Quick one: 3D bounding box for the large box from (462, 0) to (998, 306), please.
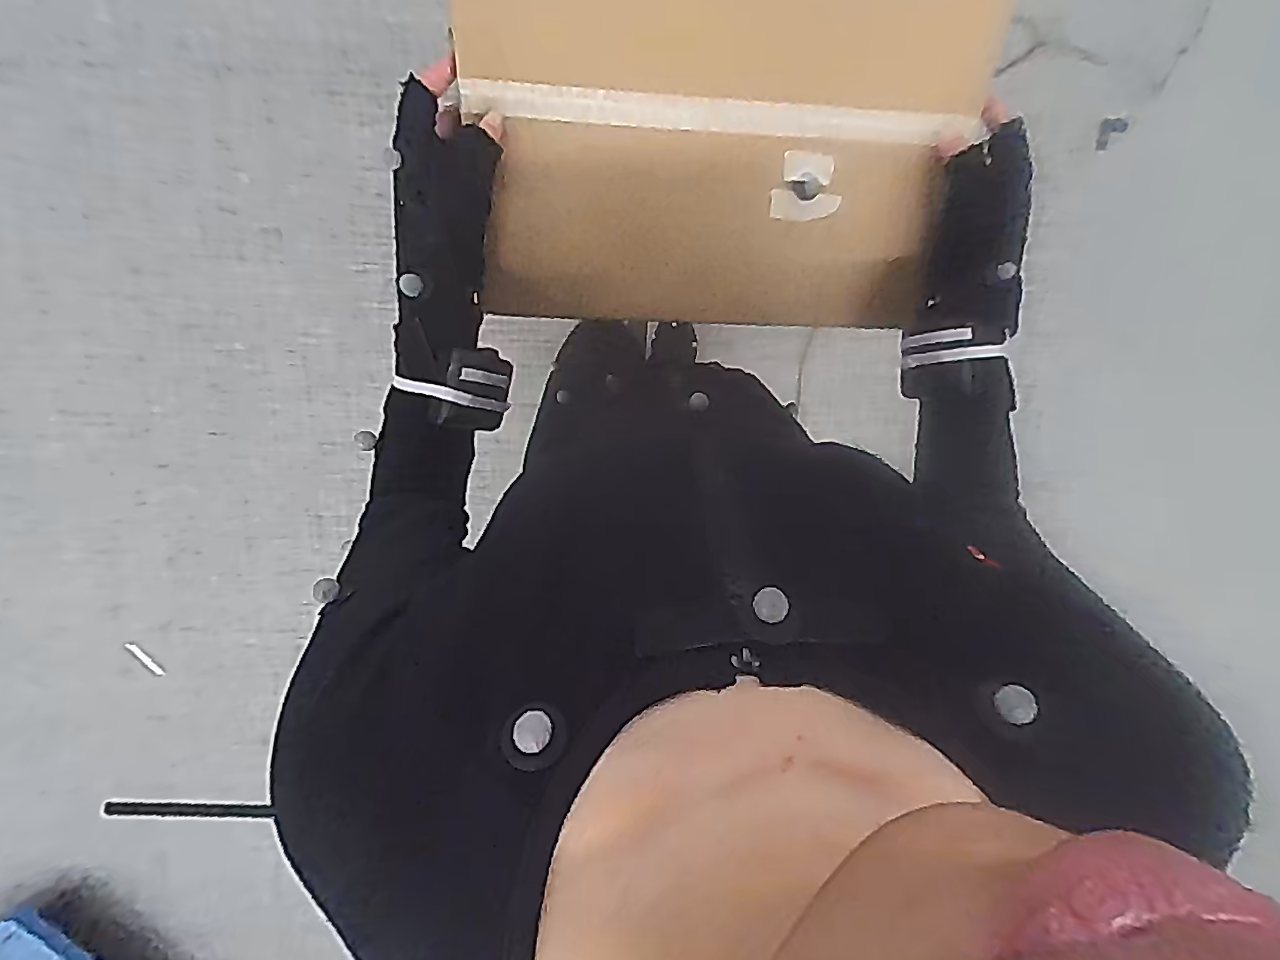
[{"bbox_3d":[0.053,-0.365,0.551,0.408,0.320,0.320,-1,119,-7],"label":"large box"}]
